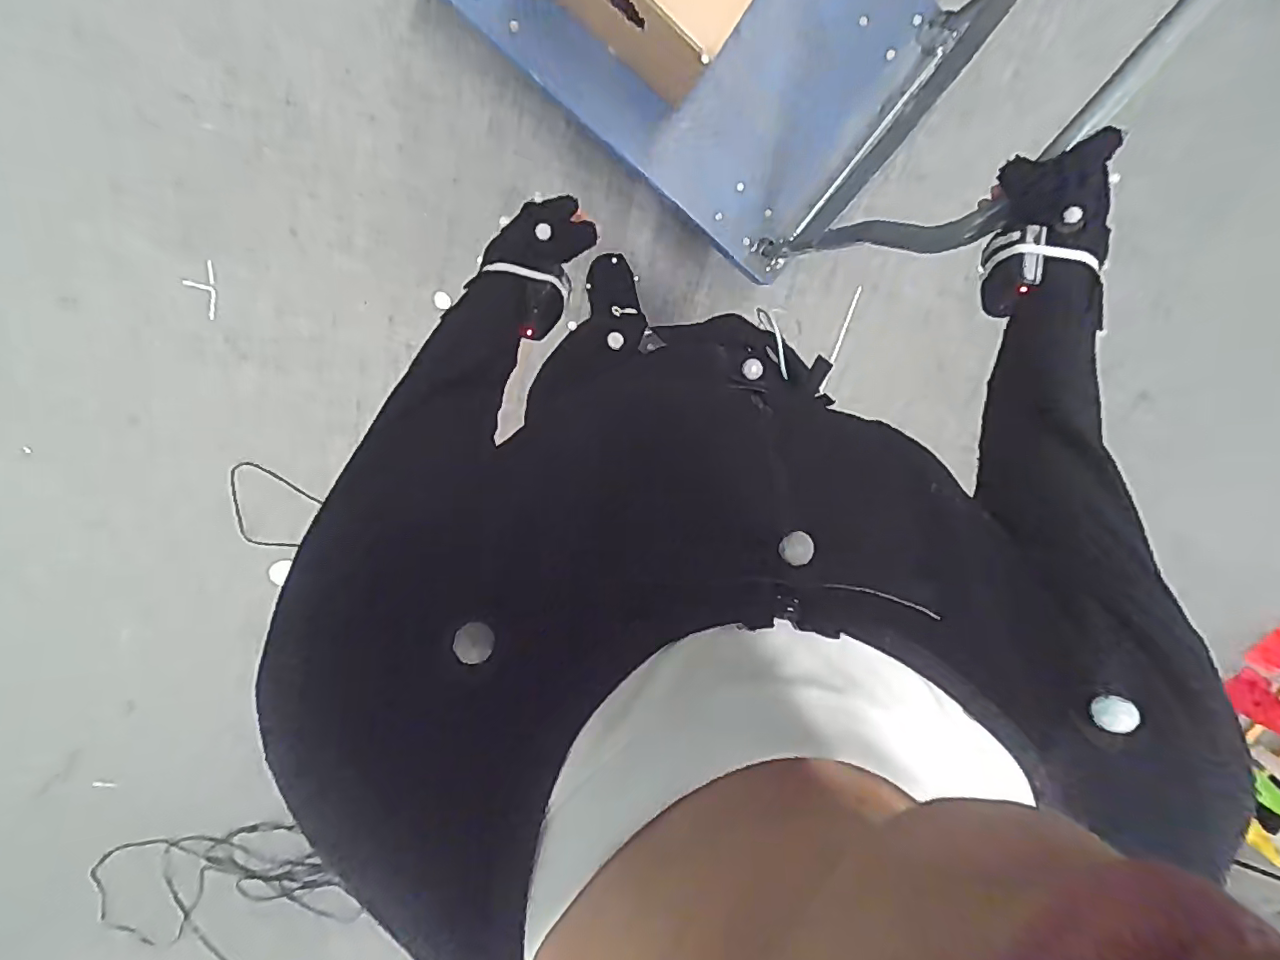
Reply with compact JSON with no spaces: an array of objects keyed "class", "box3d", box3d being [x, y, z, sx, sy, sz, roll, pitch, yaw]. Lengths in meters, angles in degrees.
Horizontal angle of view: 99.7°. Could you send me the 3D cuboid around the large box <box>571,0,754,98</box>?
[{"class":"large box","box3d":[0.088,-0.901,0.812,0.320,0.320,0.408,32,107,-17]}]
